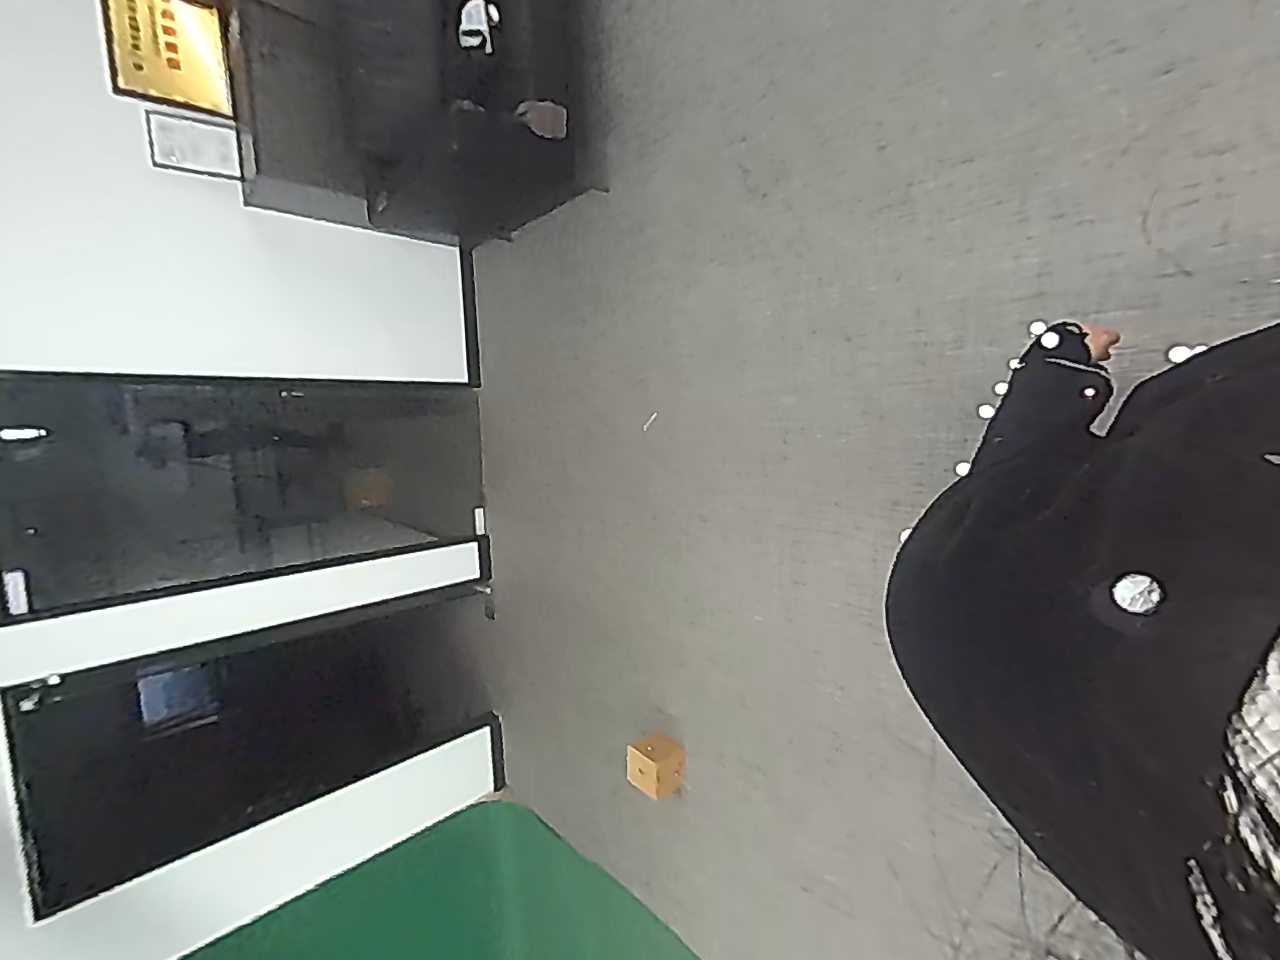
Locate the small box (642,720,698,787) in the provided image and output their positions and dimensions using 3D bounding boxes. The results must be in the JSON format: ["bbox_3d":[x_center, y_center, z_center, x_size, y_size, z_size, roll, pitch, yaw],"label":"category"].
[{"bbox_3d":[0.125,1.149,2.294,0.179,0.176,0.168,10,104,46],"label":"small box"}]
